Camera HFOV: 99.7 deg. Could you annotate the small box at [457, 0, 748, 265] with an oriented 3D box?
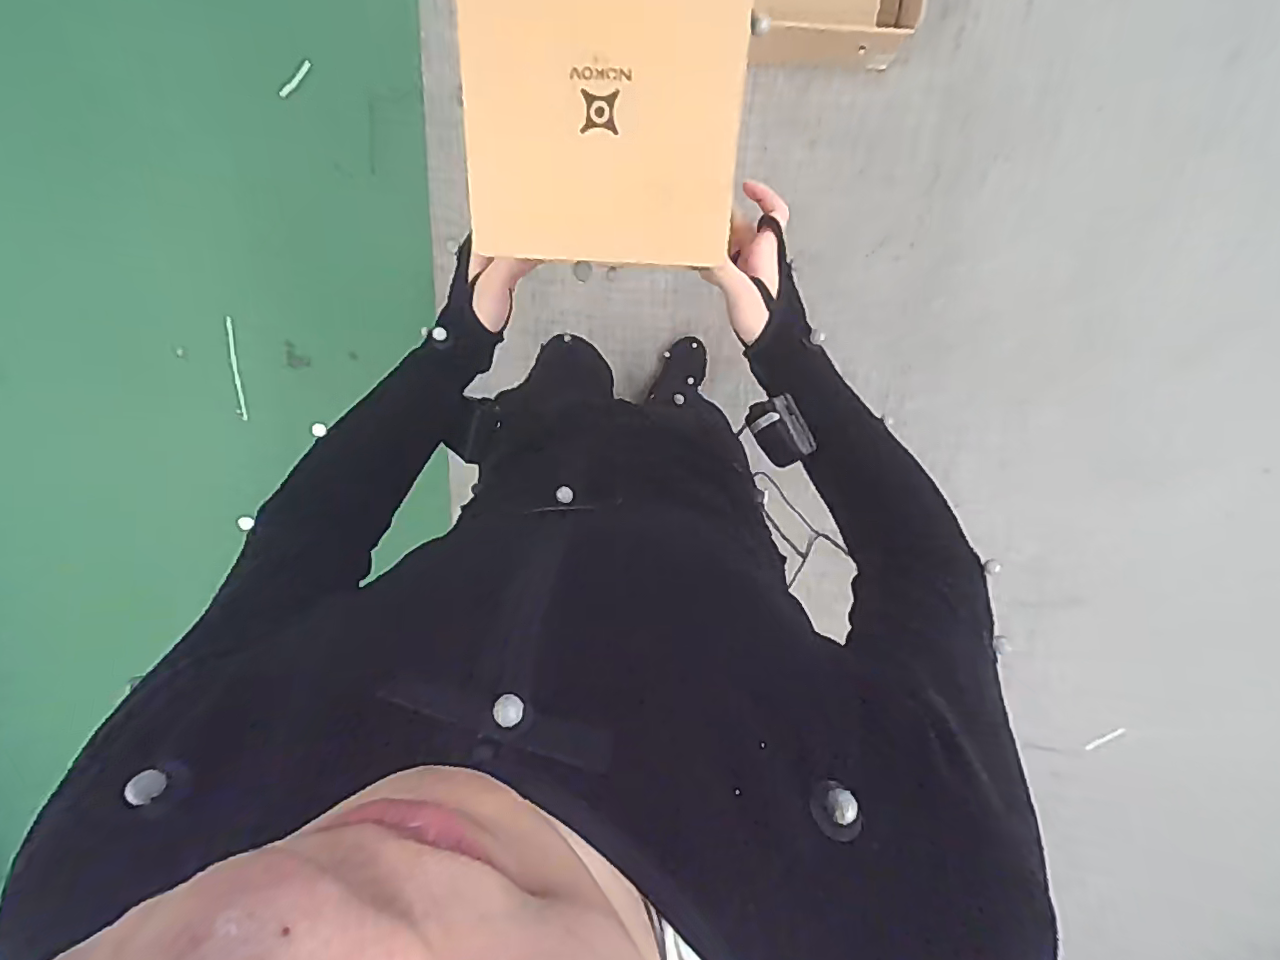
[{"bbox_3d":[-0.017,-0.254,0.391,0.168,0.176,0.179,4,112,3],"label":"small box"}]
